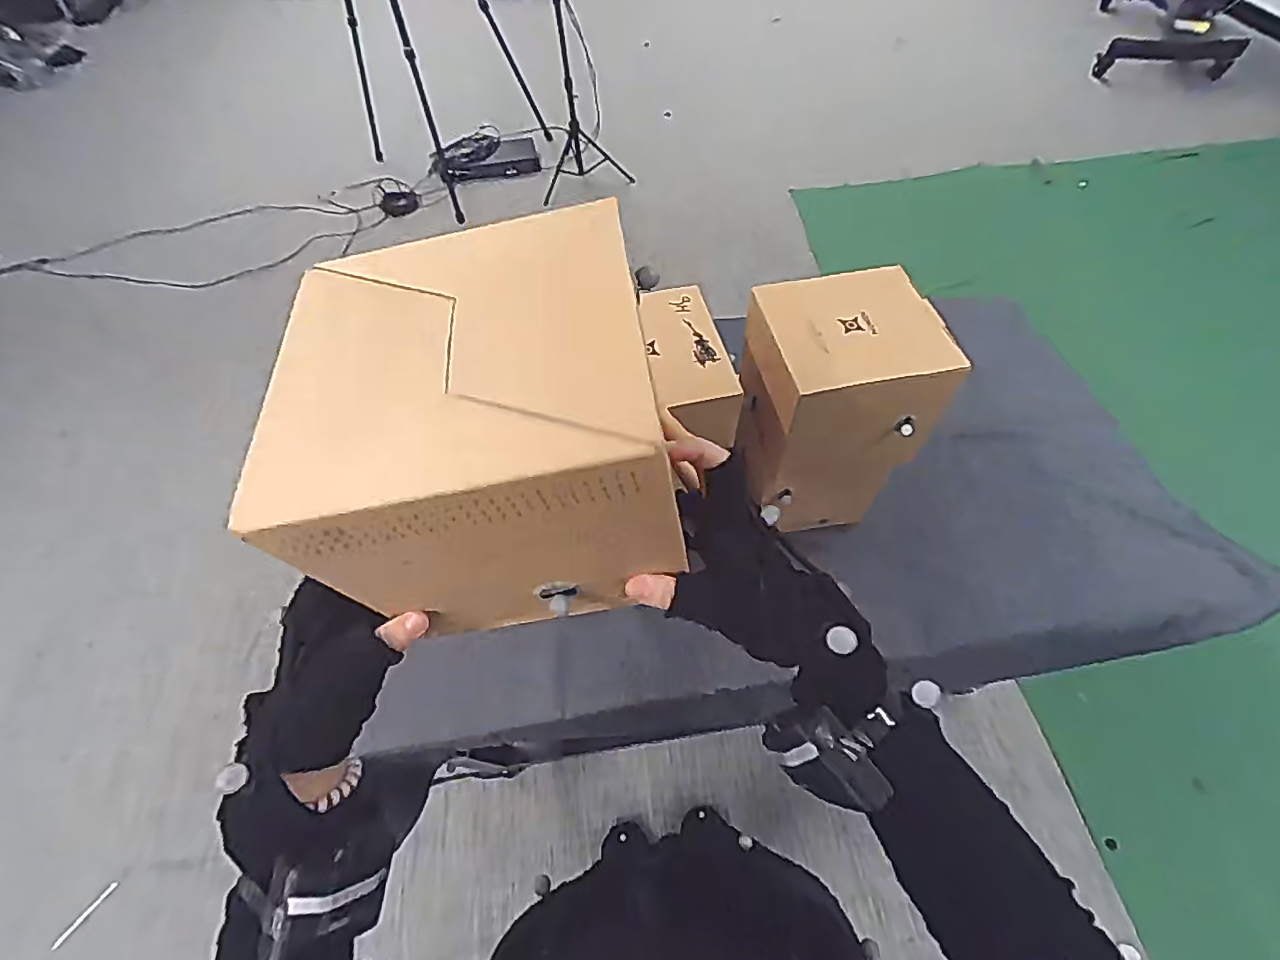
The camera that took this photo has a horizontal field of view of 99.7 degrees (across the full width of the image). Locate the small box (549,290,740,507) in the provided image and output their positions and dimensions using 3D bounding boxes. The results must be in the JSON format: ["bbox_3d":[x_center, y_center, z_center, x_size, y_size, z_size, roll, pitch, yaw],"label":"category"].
[{"bbox_3d":[0.005,-0.087,0.632,0.179,0.176,0.168,-13,59,-4],"label":"small box"}]
